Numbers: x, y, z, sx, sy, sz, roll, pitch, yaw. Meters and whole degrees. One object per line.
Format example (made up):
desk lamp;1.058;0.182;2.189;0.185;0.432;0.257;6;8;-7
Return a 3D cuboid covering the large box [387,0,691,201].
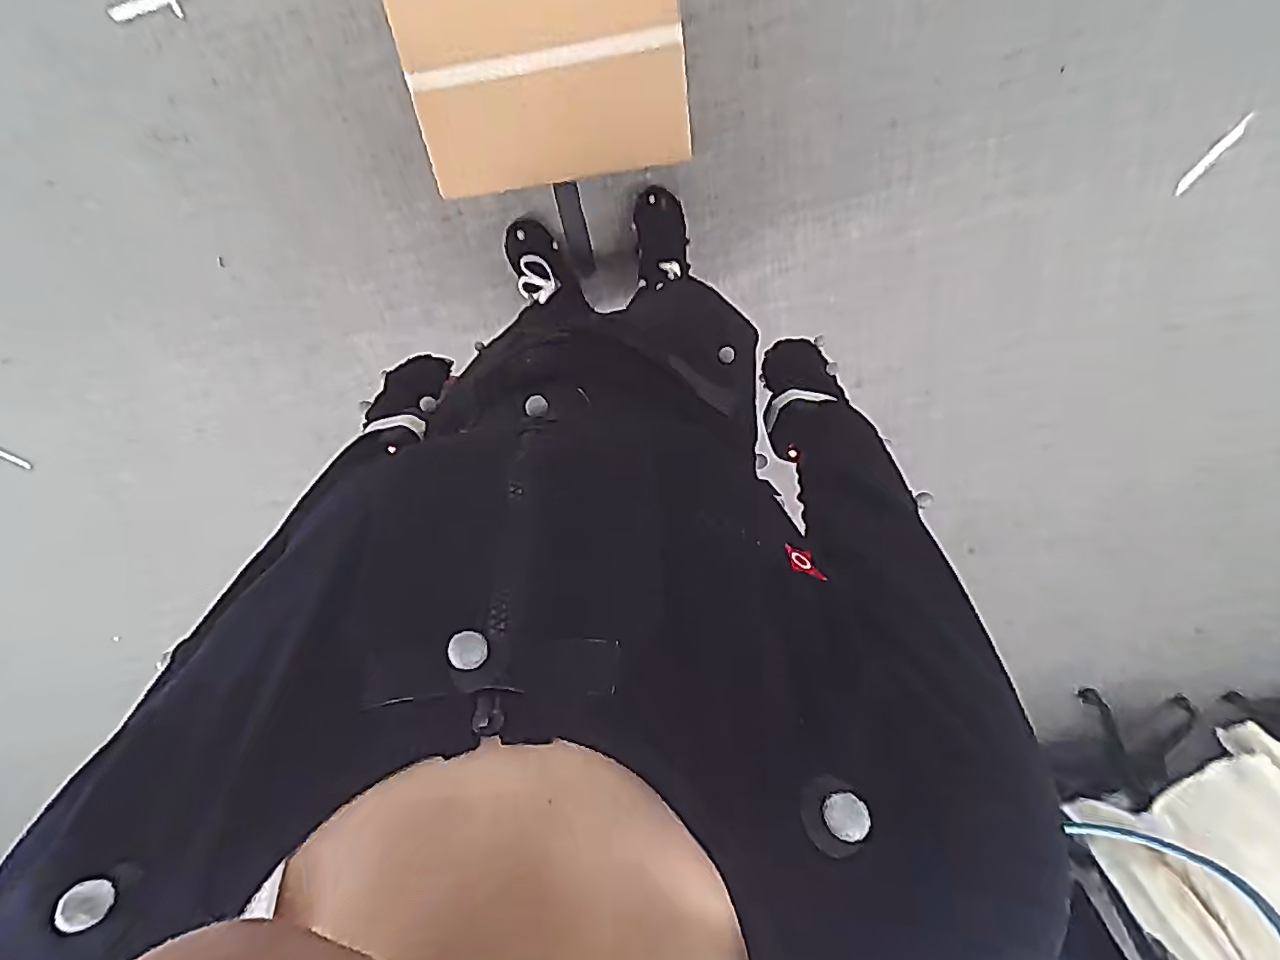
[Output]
large box;-0.139;-0.685;0.905;0.408;0.320;0.320;-8;121;3
